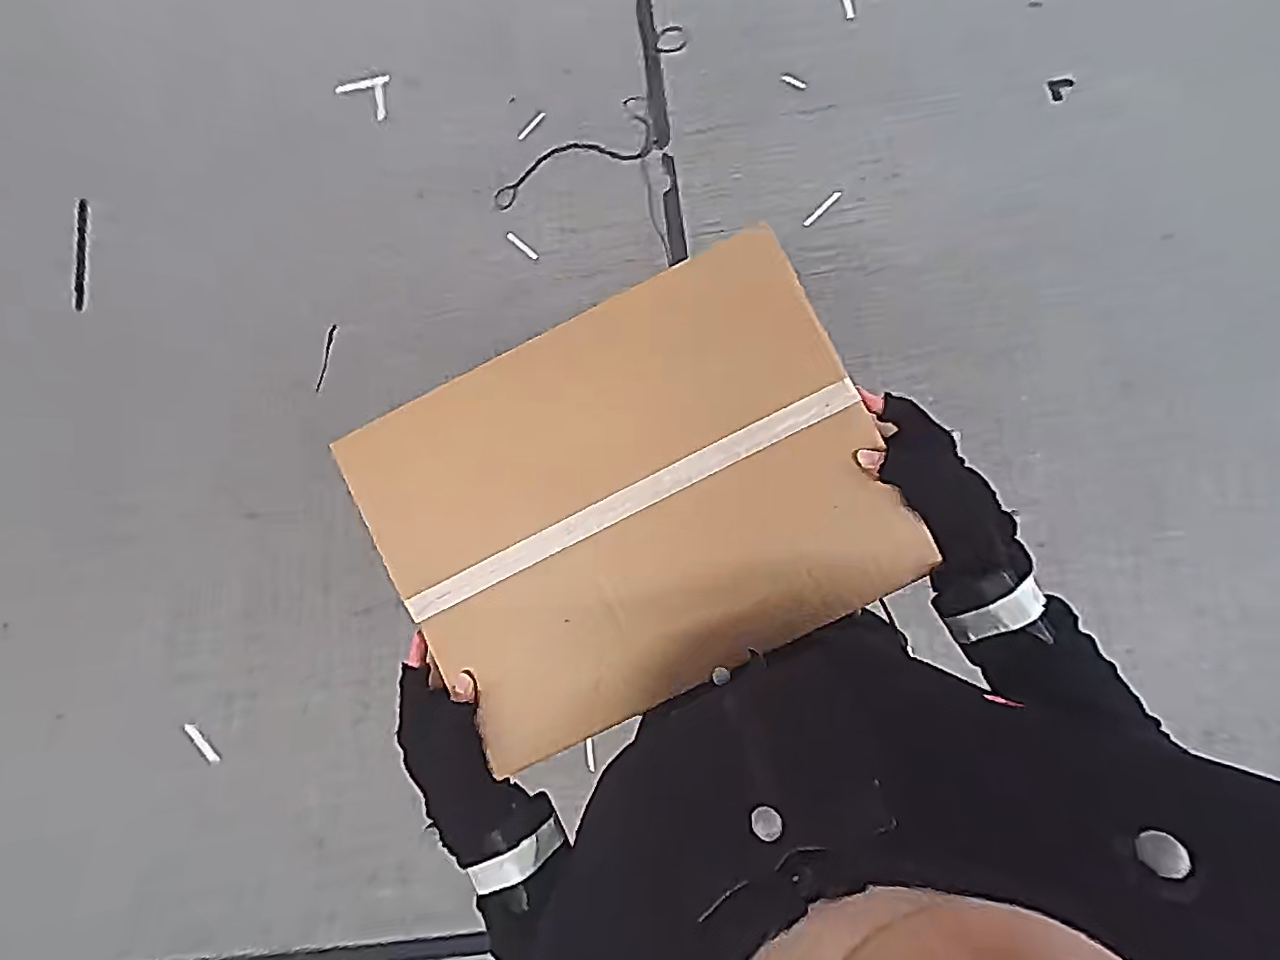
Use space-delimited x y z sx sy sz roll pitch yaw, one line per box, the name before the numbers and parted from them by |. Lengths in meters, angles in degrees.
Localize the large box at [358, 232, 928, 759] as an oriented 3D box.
large box | 0.002 0.018 0.601 0.408 0.320 0.320 -26 89 3
